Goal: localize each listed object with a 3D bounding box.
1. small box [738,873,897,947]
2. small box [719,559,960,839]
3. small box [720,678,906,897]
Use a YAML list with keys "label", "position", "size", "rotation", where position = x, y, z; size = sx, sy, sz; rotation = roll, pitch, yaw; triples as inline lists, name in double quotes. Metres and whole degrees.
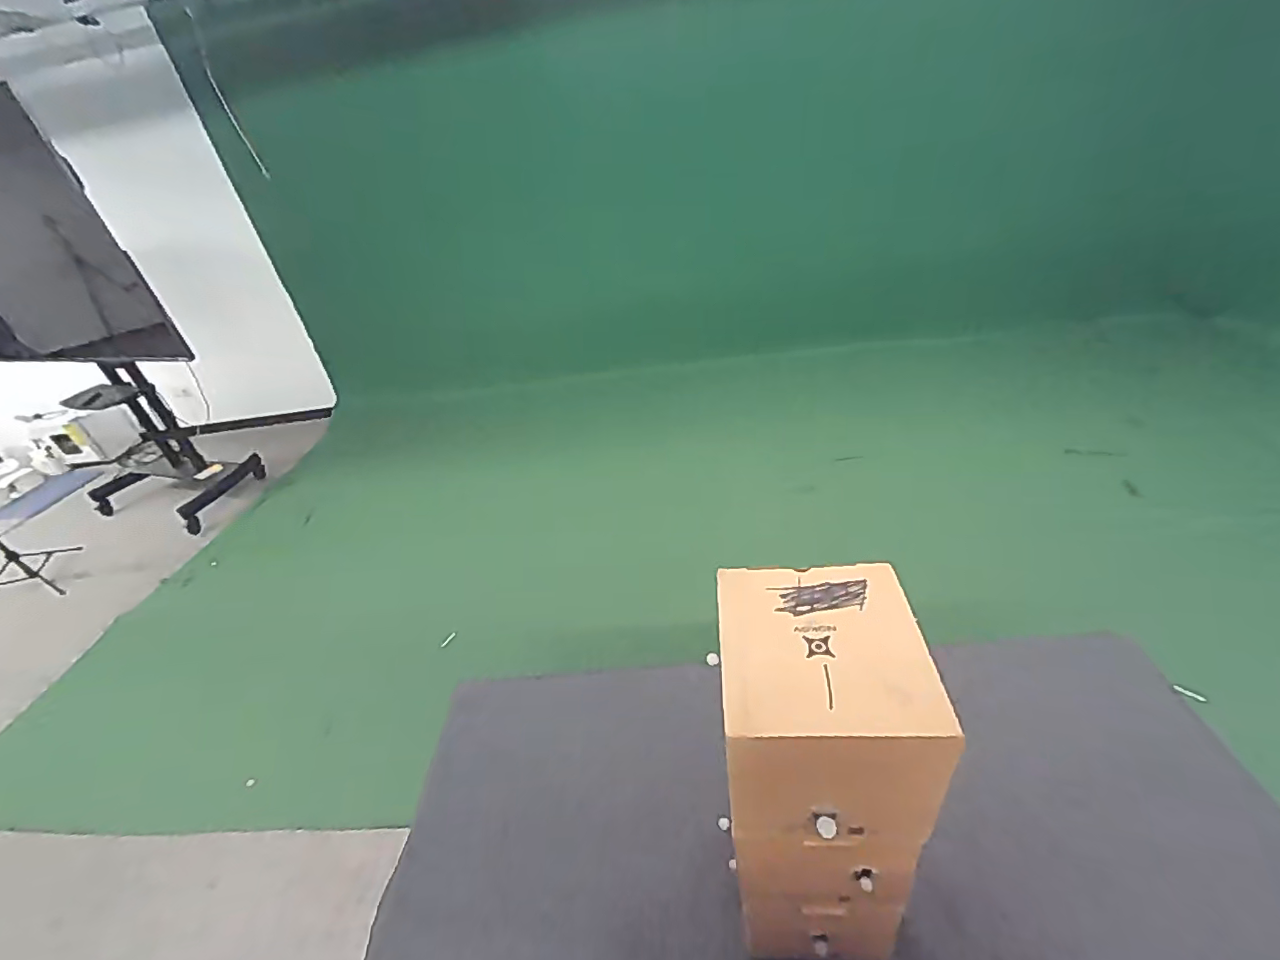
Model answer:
- label: "small box"
  position: [0.208, 0.457, 0.684]
  size: [0.168, 0.176, 0.179]
  rotation: [-5, 35, 9]
- label: "small box"
  position: [0.159, 0.194, 0.496]
  size: [0.168, 0.176, 0.179]
  rotation: [-4, 36, 9]
- label: "small box"
  position: [0.180, 0.326, 0.592]
  size: [0.168, 0.176, 0.179]
  rotation: [-5, 33, 7]
